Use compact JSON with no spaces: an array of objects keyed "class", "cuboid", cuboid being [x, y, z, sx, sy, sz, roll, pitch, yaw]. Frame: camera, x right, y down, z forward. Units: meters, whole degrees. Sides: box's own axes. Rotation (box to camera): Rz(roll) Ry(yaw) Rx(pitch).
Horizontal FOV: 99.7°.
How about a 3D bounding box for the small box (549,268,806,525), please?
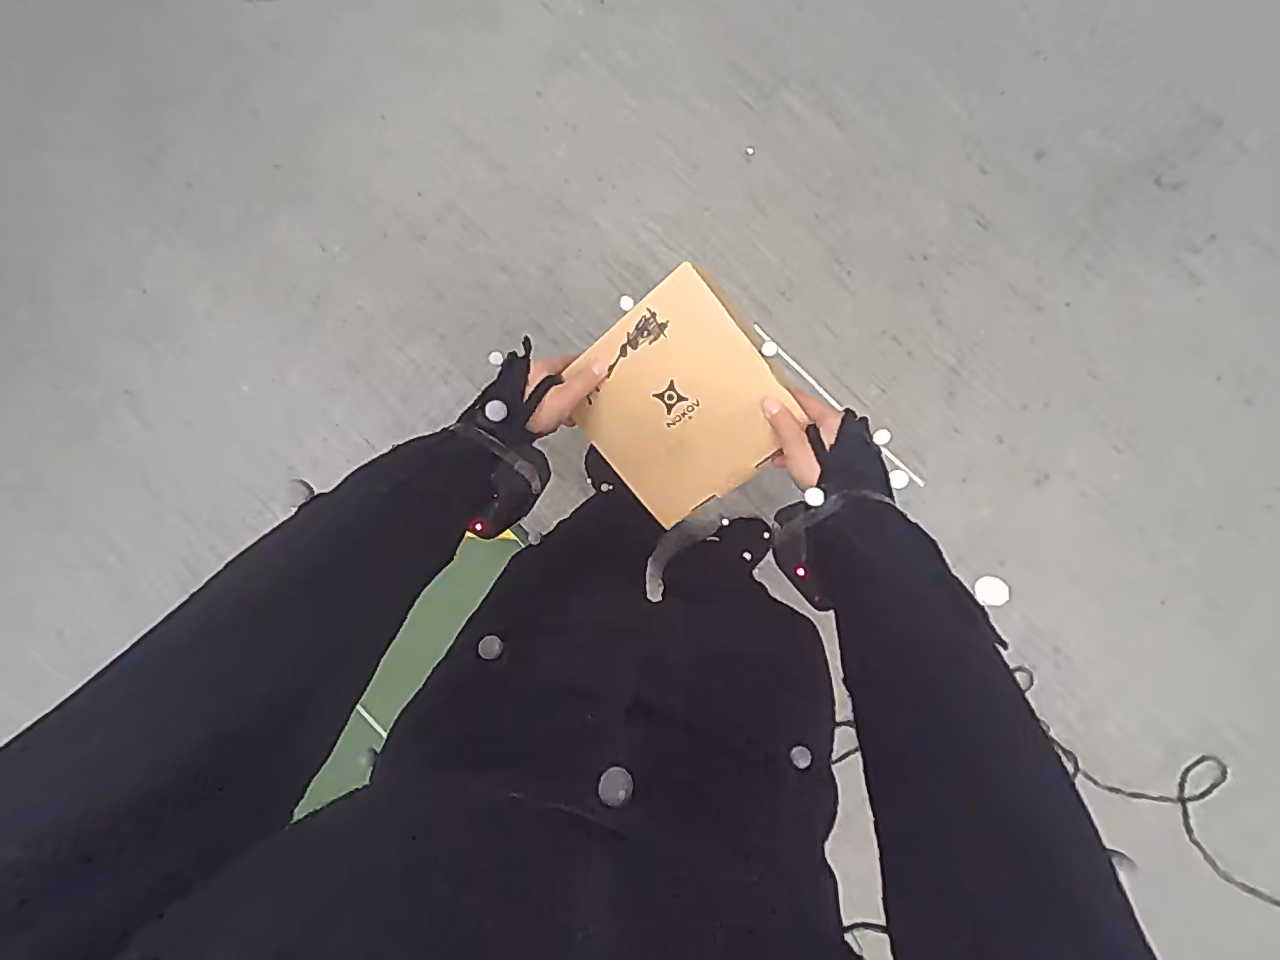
[{"class":"small box","cuboid":[0.046,-0.091,0.550,0.168,0.176,0.179,-37,98,20]}]
